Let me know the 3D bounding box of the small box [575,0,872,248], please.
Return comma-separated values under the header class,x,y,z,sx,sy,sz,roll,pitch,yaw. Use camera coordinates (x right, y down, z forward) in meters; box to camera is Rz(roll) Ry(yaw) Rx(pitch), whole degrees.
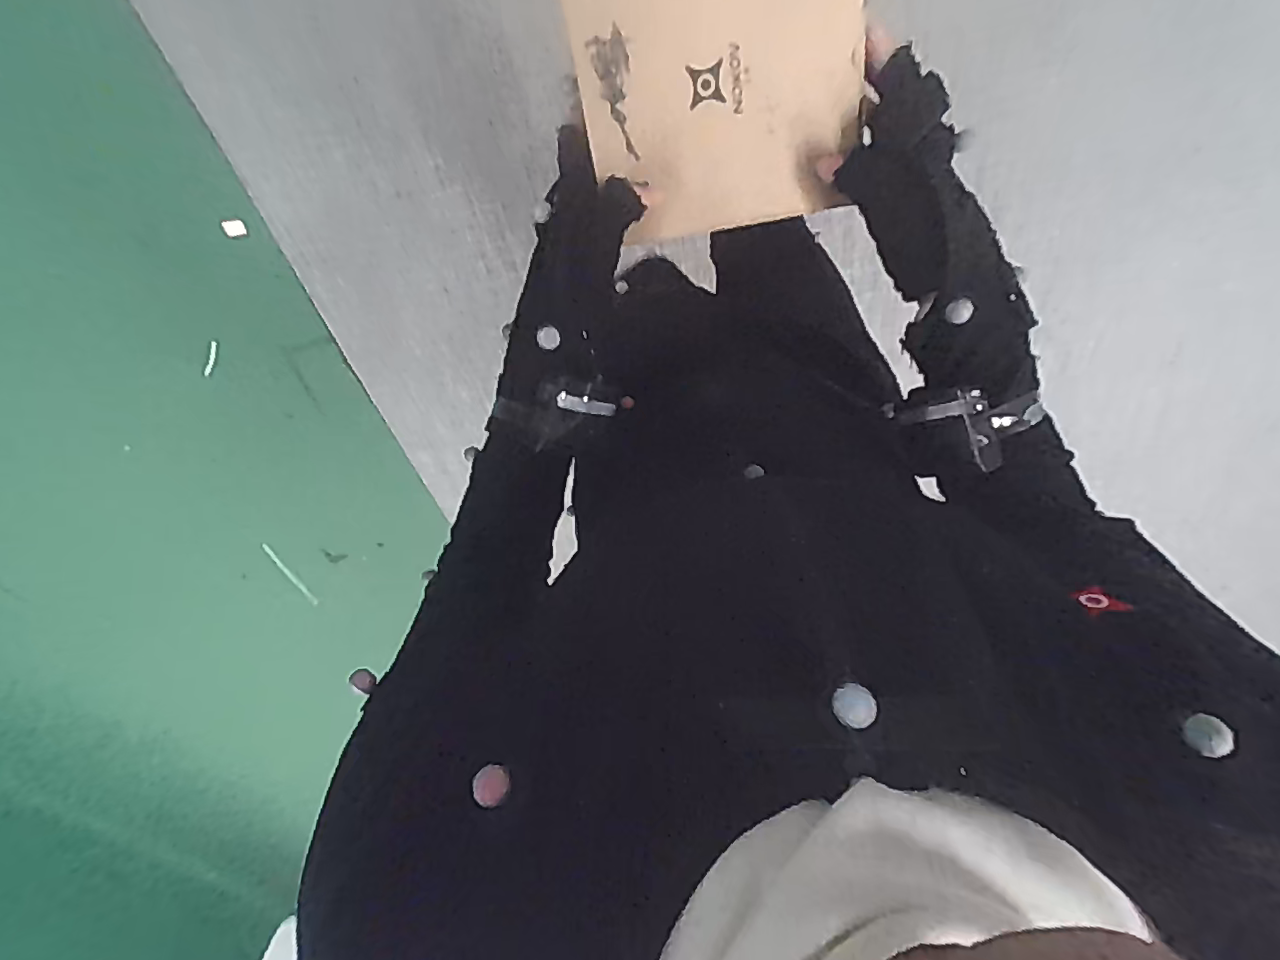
class,x,y,z,sx,sy,sz,roll,pitch,yaw
small box,0.056,-0.287,0.408,0.179,0.176,0.168,-7,120,6
